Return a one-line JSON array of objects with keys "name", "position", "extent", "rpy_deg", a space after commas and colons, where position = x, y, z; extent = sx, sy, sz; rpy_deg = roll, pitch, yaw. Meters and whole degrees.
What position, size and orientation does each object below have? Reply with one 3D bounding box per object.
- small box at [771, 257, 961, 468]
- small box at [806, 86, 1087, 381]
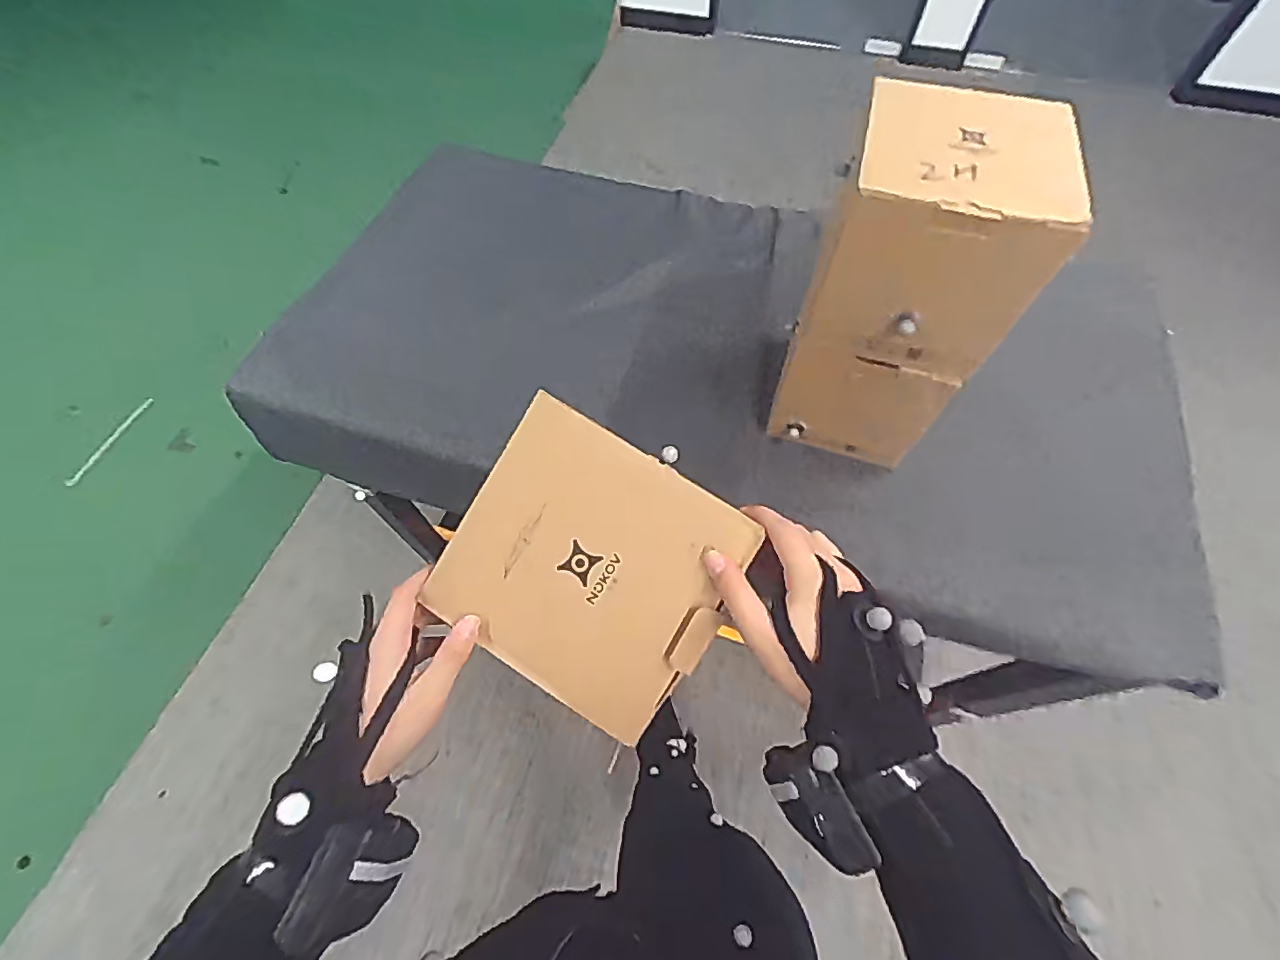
[{"name": "small box", "position": [0.264, -0.140, 0.648], "extent": [0.168, 0.176, 0.179], "rpy_deg": [17, 61, 9]}, {"name": "small box", "position": [0.265, -0.224, 0.506], "extent": [0.168, 0.176, 0.179], "rpy_deg": [14, 62, 9]}]
